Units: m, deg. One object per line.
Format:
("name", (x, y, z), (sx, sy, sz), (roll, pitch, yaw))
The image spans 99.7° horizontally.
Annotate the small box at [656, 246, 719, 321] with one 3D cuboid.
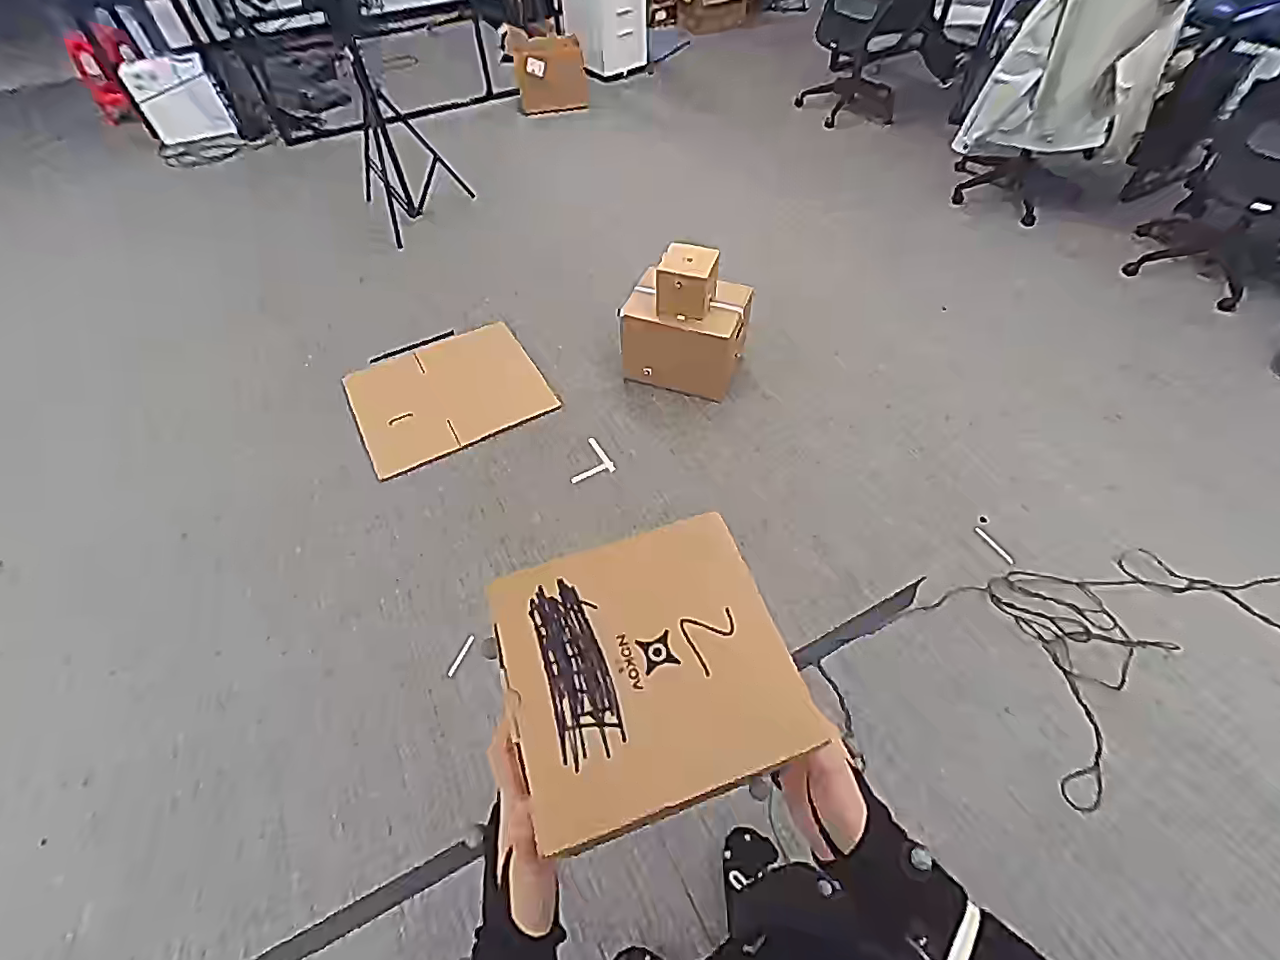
("small box", (0.161, -0.670, 1.854), (0.179, 0.176, 0.168), (15, 57, 12))
